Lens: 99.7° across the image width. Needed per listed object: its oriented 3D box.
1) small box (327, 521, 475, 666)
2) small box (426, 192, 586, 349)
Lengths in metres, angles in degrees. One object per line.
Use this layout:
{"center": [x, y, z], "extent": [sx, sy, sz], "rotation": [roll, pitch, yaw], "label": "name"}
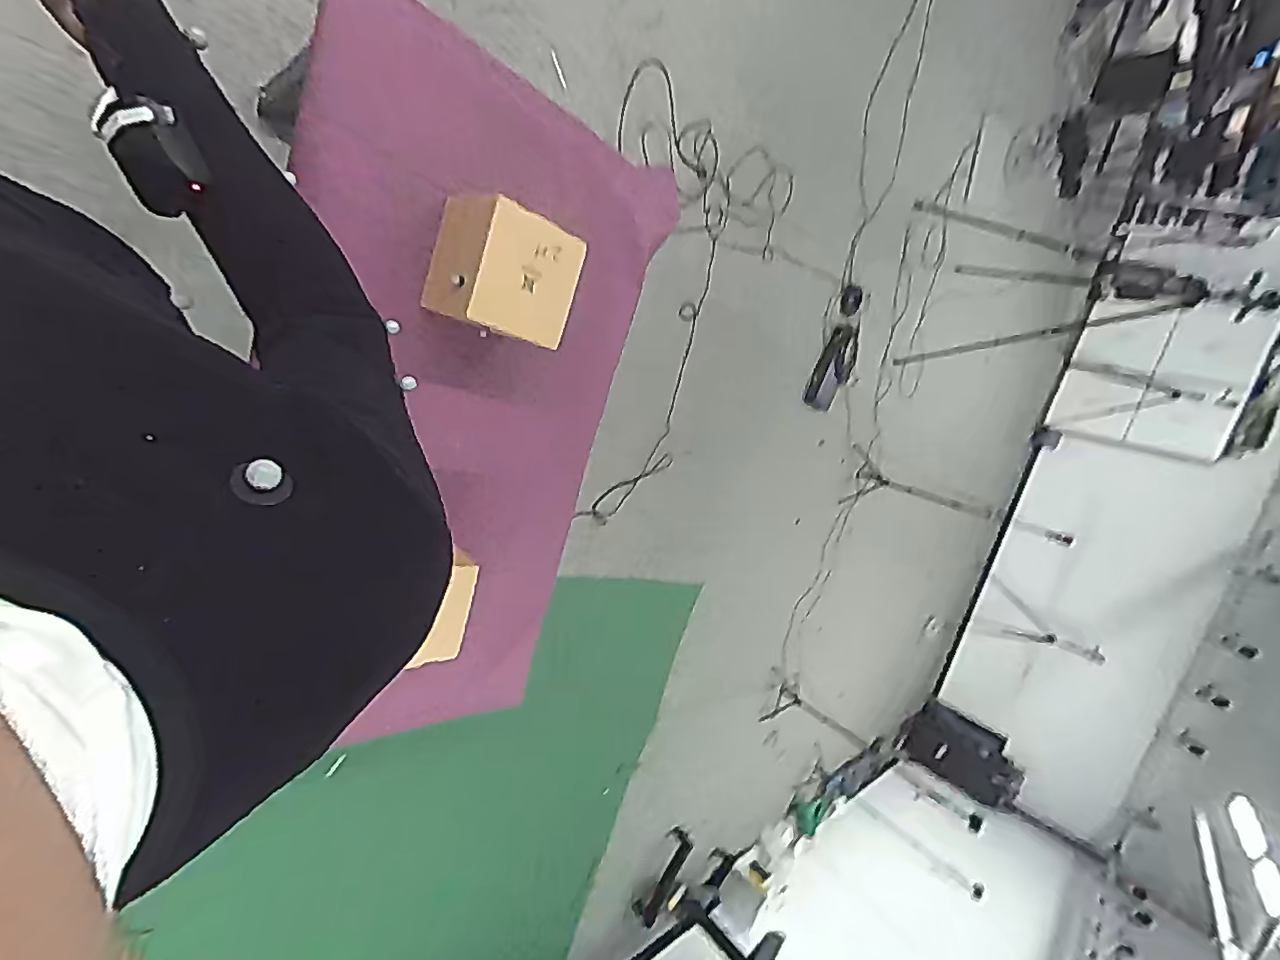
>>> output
{"center": [-0.412, 0.186, 0.921], "extent": [0.168, 0.176, 0.179], "rotation": [9, 103, -46], "label": "small box"}
{"center": [-0.219, -0.330, 0.864], "extent": [0.168, 0.176, 0.179], "rotation": [11, 101, -47], "label": "small box"}
